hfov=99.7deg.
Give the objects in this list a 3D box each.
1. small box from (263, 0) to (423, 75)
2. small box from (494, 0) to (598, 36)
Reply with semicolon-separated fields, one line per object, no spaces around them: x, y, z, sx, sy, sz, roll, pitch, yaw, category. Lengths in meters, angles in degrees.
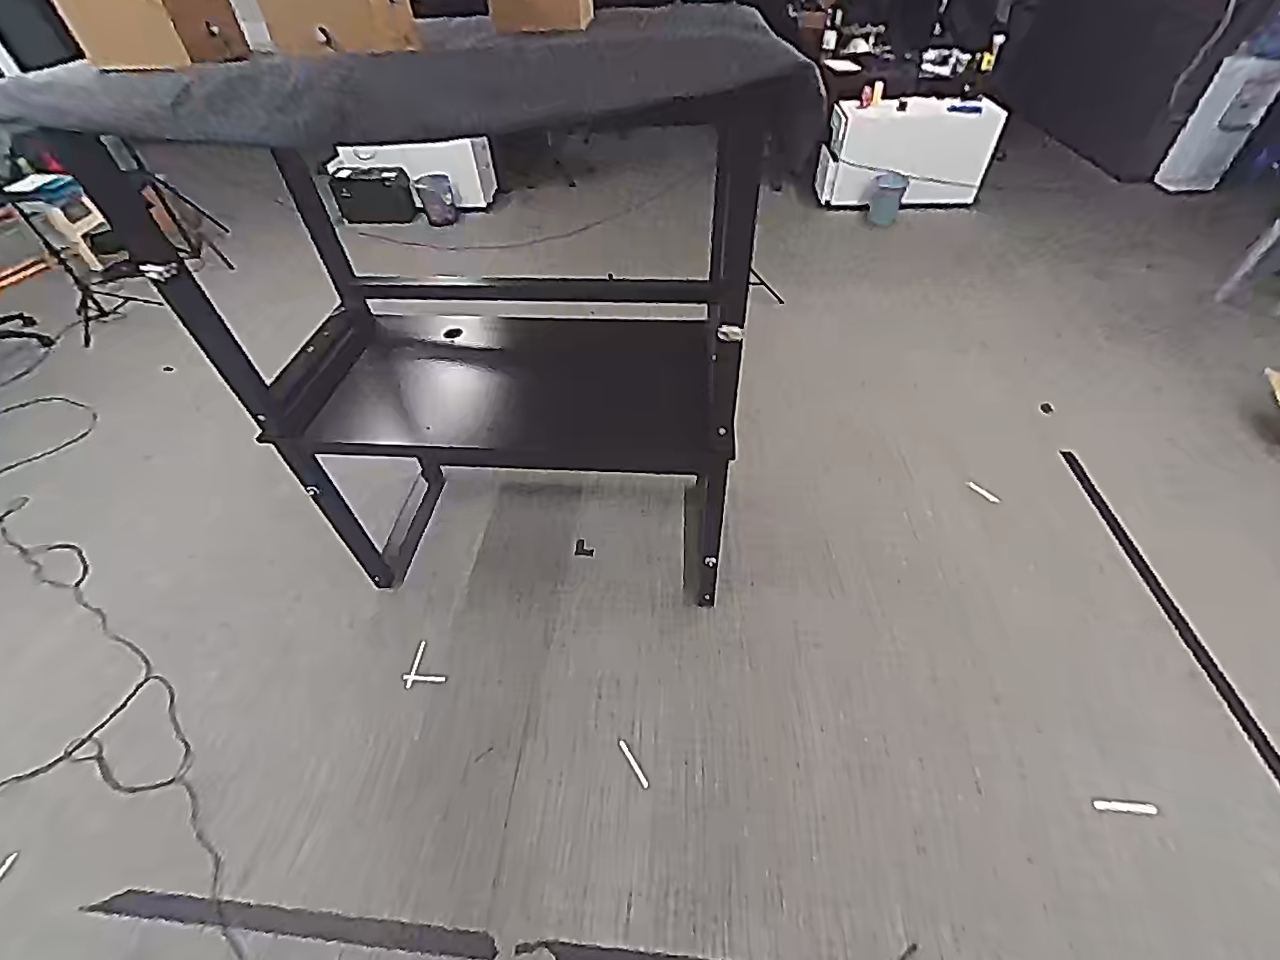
-0.473;-0.765;0.859;0.179;0.176;0.168;2;46;4;small box
-0.185;-0.970;1.035;0.179;0.176;0.168;2;48;5;small box
